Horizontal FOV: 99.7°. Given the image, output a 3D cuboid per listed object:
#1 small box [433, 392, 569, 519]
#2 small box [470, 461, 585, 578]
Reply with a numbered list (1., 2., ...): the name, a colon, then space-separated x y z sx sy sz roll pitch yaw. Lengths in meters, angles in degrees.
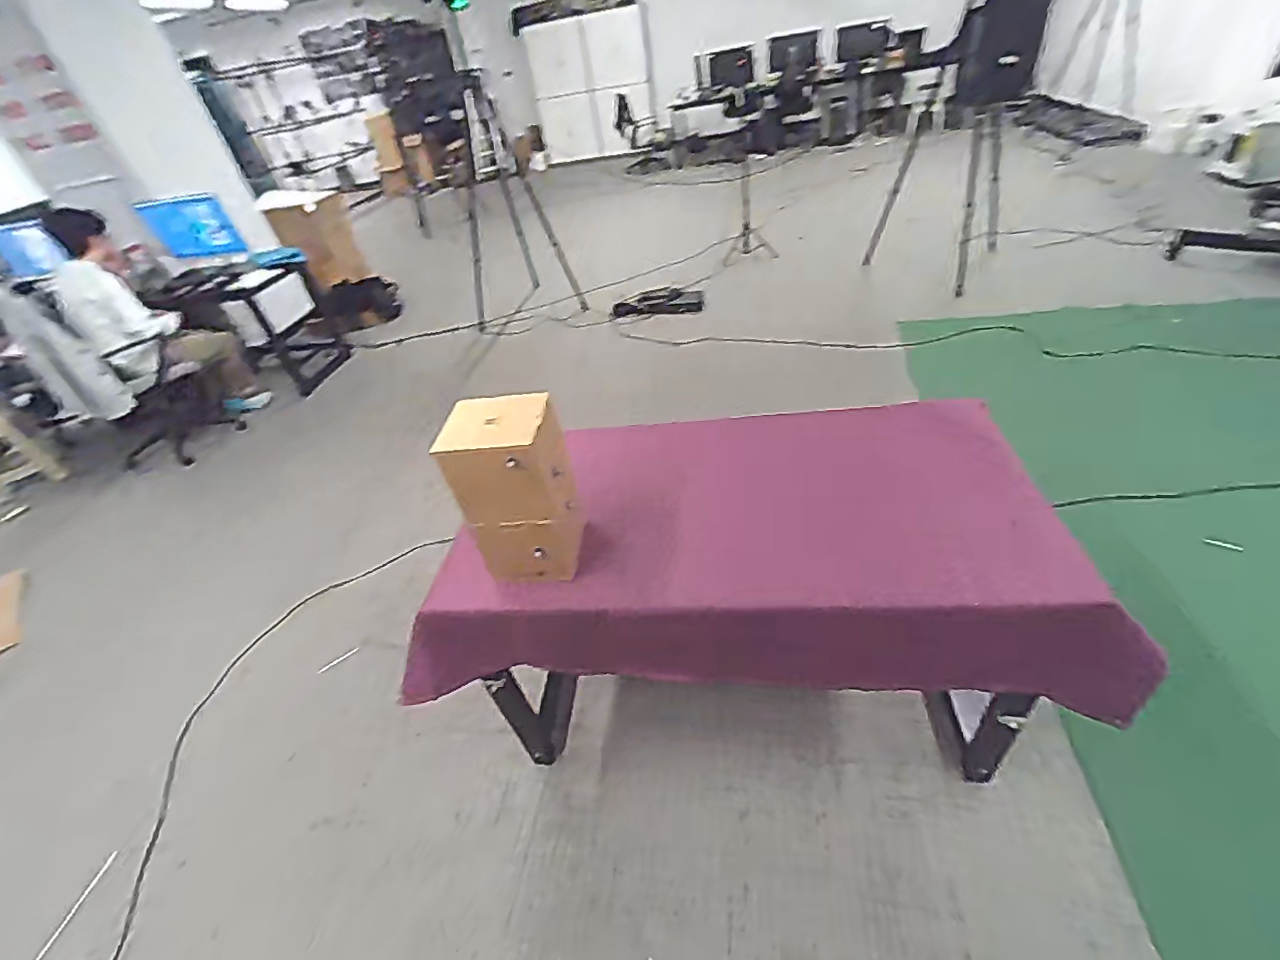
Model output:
1. small box: -0.242 -0.041 0.988 0.179 0.176 0.168 -4 40 6
2. small box: -0.215 0.083 1.089 0.168 0.176 0.179 -3 39 8
